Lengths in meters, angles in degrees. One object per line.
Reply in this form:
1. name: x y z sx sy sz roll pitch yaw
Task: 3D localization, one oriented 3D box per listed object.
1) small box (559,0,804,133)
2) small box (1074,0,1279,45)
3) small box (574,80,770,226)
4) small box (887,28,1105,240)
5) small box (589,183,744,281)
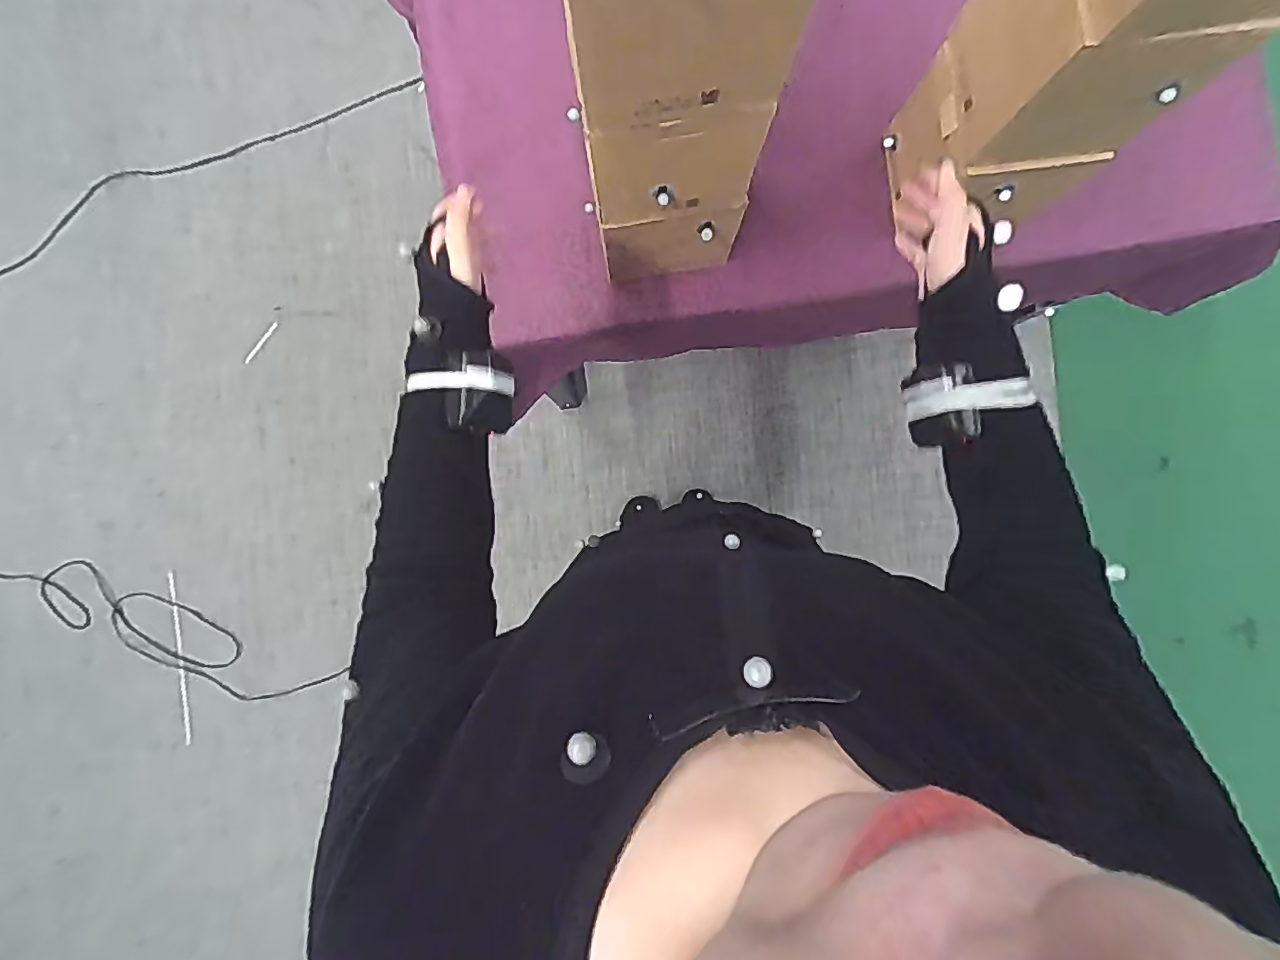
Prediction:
1. small box: 0.019 -0.392 0.383 0.168 0.176 0.179 -9 89 0
2. small box: 0.451 -0.459 0.381 0.179 0.176 0.168 -9 88 0
3. small box: 0.019 -0.391 0.548 0.168 0.176 0.179 -10 90 0
4. small box: 0.444 -0.434 0.708 0.179 0.176 0.168 -7 89 0
5. small box: 0.024 -0.382 0.710 0.179 0.176 0.168 -10 88 0
